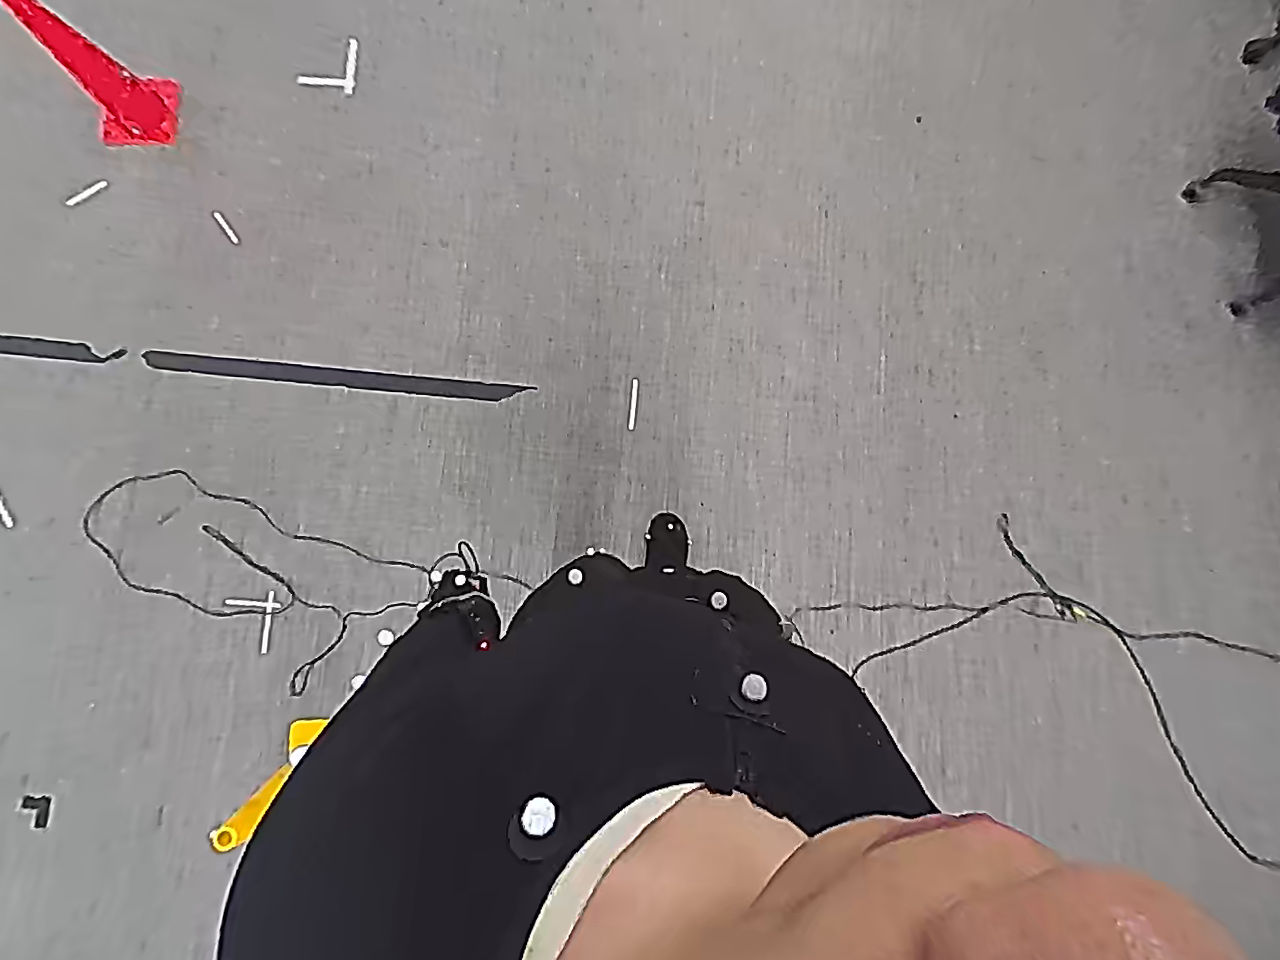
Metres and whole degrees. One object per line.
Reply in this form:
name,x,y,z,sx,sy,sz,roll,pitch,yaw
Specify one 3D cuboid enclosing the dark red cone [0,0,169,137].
dark red cone,-1.382,-1.040,1.302,0.202,0.394,0.201,-3,84,-2
